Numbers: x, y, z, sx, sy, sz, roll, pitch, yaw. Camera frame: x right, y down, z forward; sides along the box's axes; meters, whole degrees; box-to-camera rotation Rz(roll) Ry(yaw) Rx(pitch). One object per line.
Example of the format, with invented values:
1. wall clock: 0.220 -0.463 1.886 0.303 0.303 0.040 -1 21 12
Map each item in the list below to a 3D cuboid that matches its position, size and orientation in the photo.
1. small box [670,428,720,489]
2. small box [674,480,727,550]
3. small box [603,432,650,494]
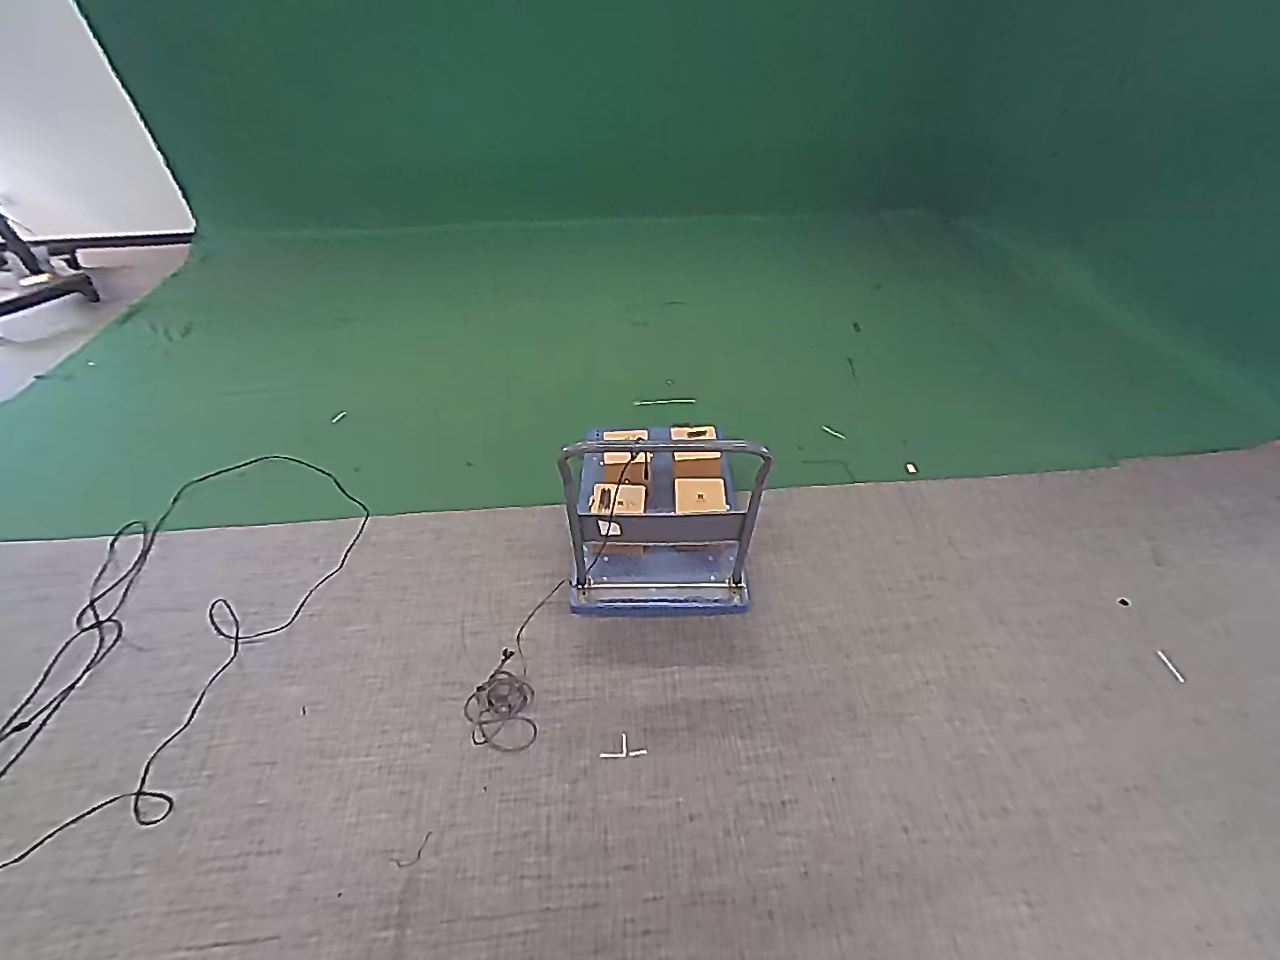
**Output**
1. small box: 0.202 -0.075 2.030 0.168 0.176 0.179 -4 46 -1
2. small box: 0.201 0.118 1.841 0.168 0.176 0.179 0 46 2
3. small box: -0.049 -0.060 2.021 0.168 0.176 0.179 -3 45 -2
